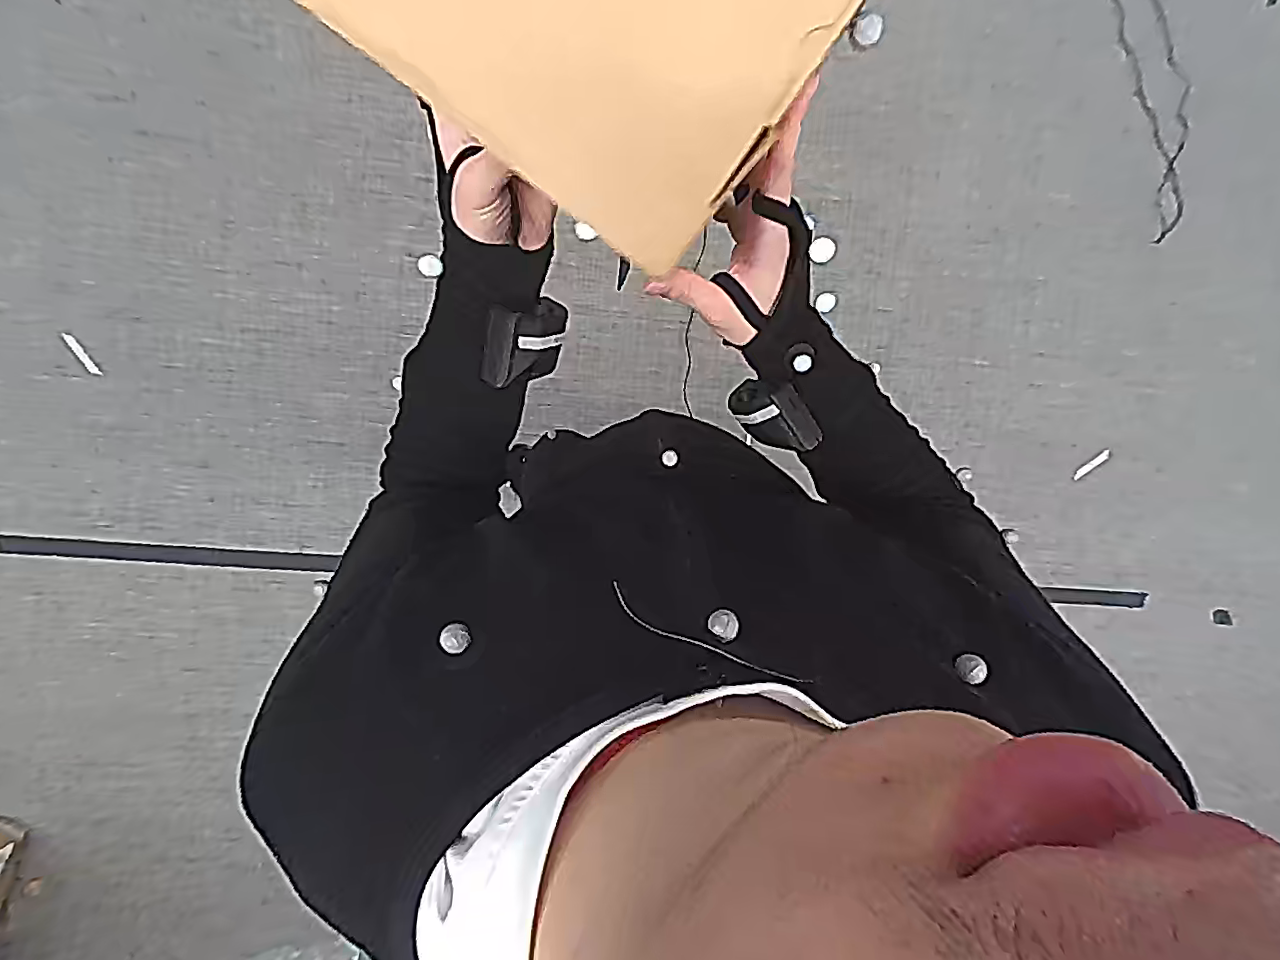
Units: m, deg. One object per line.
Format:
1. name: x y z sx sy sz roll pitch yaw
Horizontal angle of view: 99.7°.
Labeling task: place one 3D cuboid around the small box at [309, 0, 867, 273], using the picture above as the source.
1. small box: -0.005 -0.220 0.233 0.179 0.176 0.168 34 114 -10
